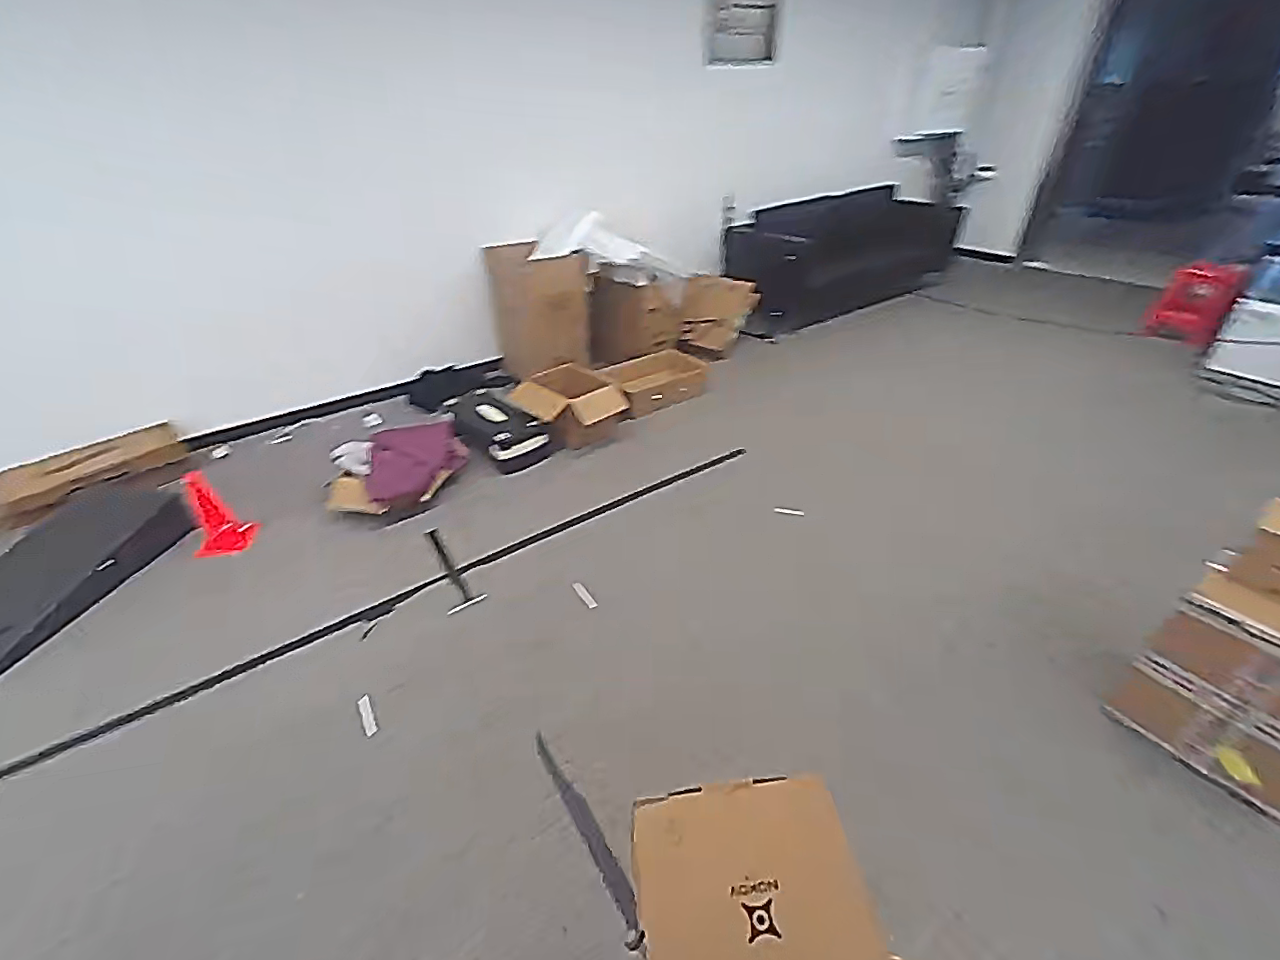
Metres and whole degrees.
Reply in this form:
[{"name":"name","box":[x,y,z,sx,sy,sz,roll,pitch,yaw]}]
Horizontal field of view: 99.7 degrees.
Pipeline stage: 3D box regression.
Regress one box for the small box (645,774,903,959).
[{"name":"small box","box":[0.093,0.370,0.436,0.168,0.176,0.179,-4,39,-4]}]

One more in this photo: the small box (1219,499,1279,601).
[{"name":"small box","box":[1.594,0.182,1.332,0.179,0.176,0.168,-27,40,-26]}]
